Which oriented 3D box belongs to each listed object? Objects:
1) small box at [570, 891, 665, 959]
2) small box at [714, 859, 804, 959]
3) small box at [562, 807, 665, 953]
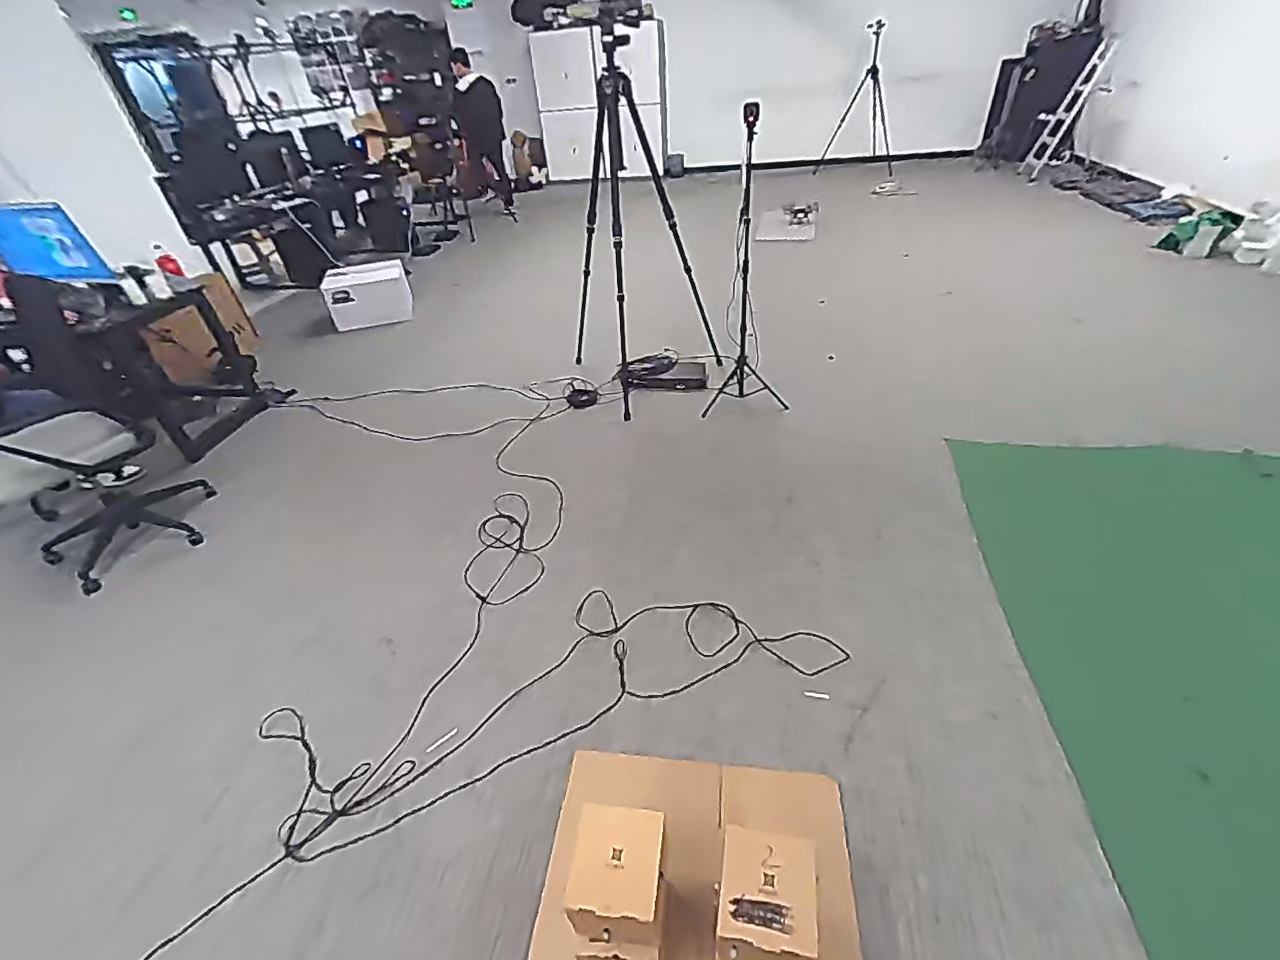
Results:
[{"bbox_3d":[-0.036,0.920,1.128,0.168,0.176,0.179,0,38,7],"label":"small box"},{"bbox_3d":[0.241,0.917,1.099,0.168,0.176,0.179,3,39,13],"label":"small box"},{"bbox_3d":[-0.041,0.774,1.050,0.168,0.176,0.179,2,38,9],"label":"small box"}]
